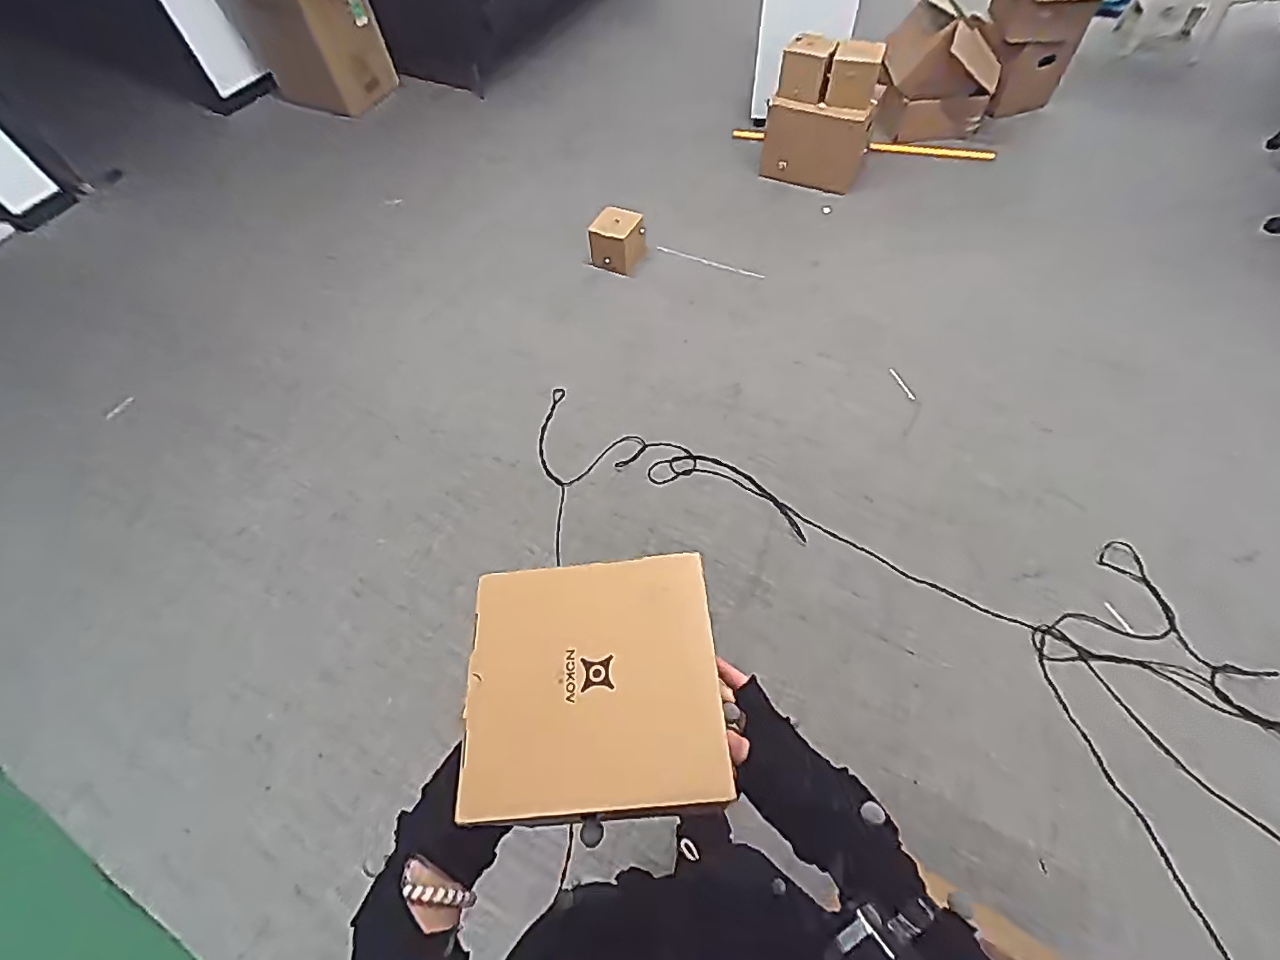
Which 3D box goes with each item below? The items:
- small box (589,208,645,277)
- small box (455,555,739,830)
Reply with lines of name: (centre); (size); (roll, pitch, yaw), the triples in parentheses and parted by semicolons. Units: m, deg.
small box: (-0.090, -0.960, 2.190); (0.168, 0.176, 0.179); (22, 63, 17)
small box: (-0.024, 0.175, 0.434); (0.179, 0.176, 0.168); (-7, 57, 3)
